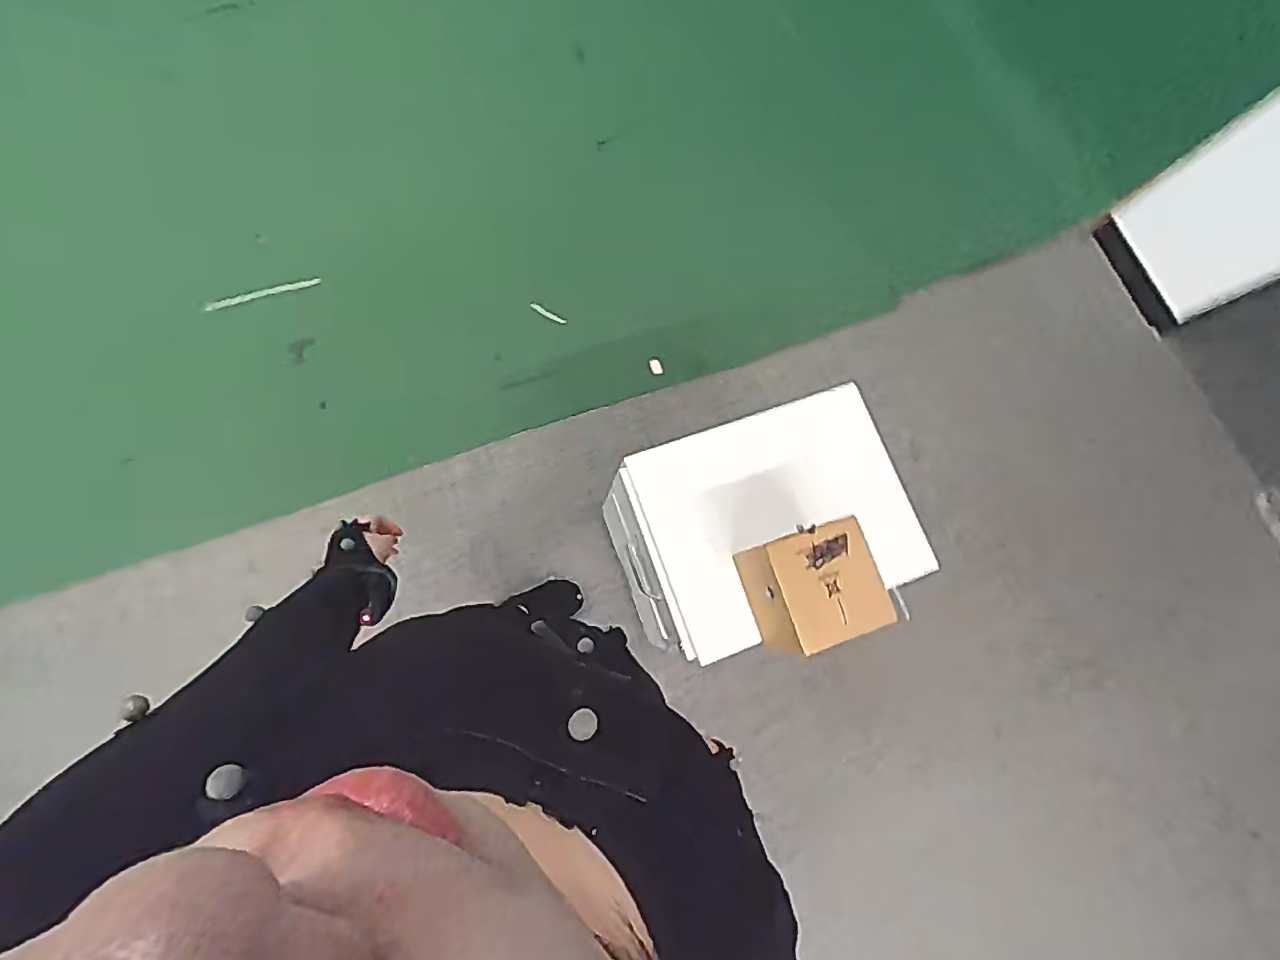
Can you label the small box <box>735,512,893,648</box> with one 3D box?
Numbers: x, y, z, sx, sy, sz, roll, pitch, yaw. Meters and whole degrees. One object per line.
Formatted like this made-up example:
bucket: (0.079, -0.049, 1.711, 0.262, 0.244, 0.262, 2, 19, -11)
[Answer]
small box: (0.279, 0.171, 0.914, 0.168, 0.176, 0.179, -16, 80, -12)
